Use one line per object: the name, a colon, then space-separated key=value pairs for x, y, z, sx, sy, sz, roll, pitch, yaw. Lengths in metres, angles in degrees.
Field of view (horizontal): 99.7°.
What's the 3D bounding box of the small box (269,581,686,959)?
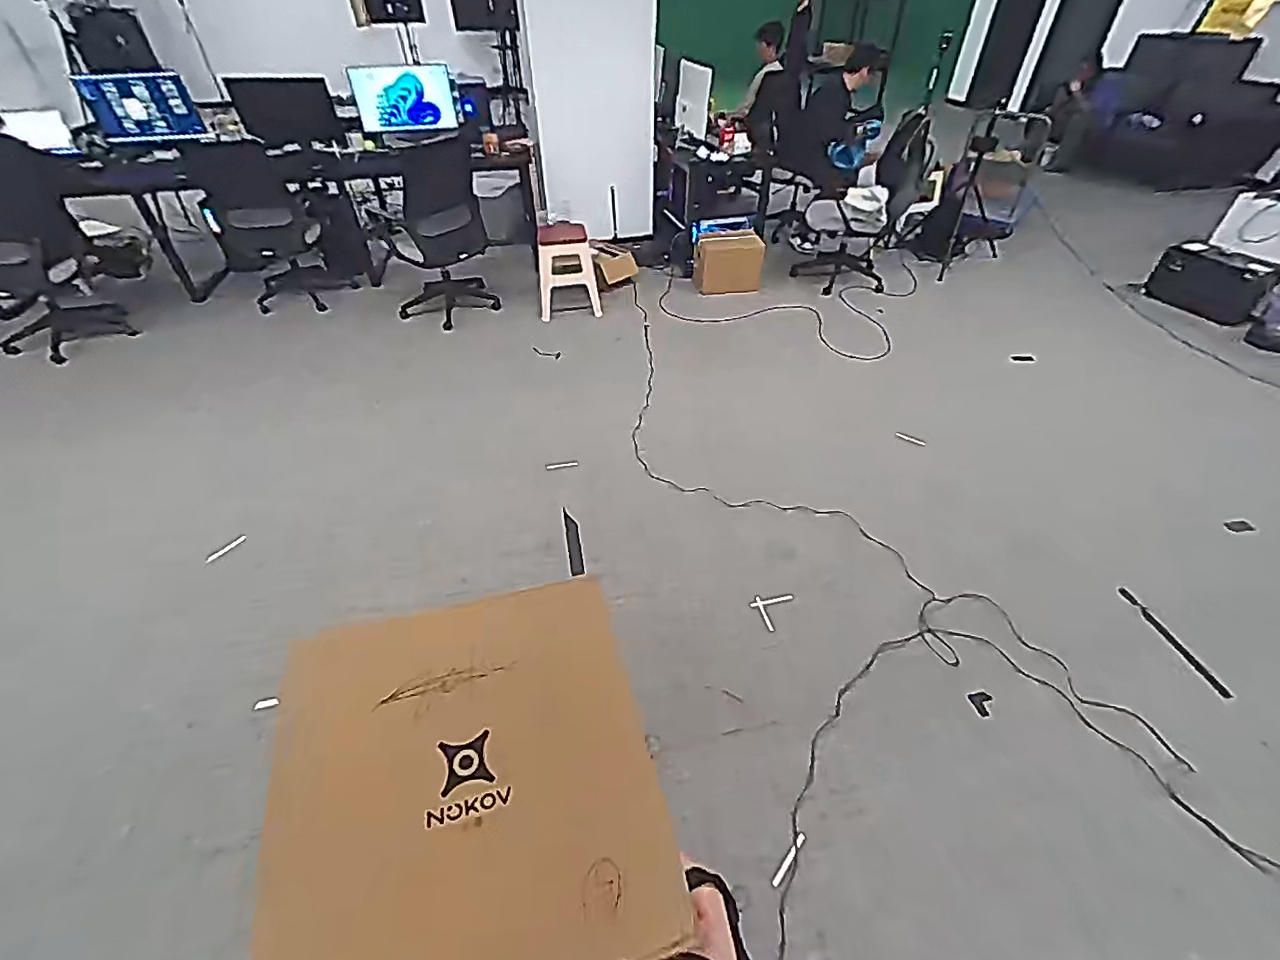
small box: x=-0.087 y=0.191 z=0.318 sx=0.168 sy=0.176 sz=0.179 roll=-11 pitch=50 yaw=-17
